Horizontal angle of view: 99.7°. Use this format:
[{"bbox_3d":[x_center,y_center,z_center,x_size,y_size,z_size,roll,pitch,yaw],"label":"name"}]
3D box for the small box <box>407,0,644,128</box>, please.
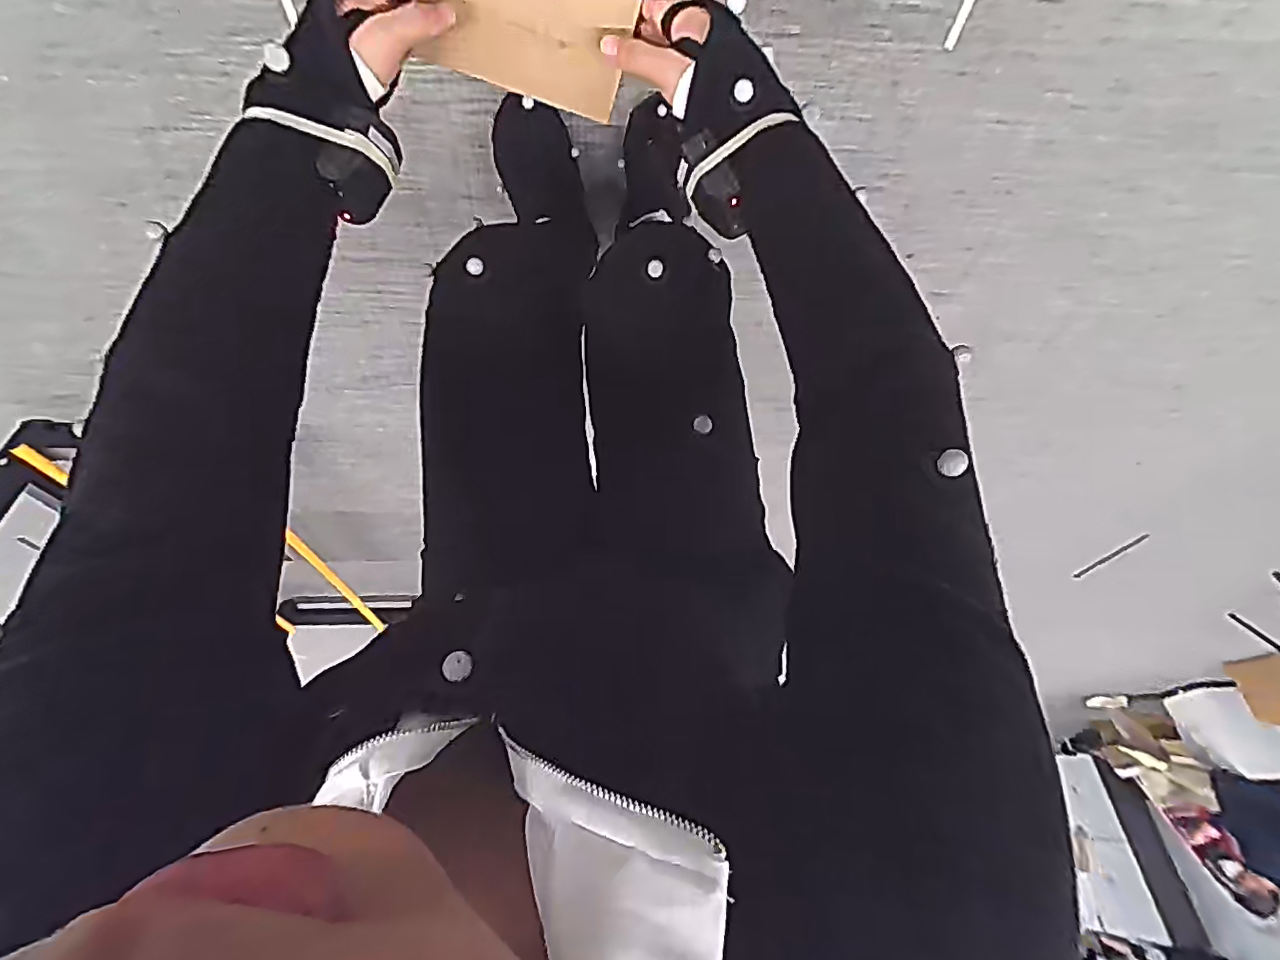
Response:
[{"bbox_3d":[-0.083,-0.431,0.428,0.168,0.176,0.179,8,142,-19],"label":"small box"}]
